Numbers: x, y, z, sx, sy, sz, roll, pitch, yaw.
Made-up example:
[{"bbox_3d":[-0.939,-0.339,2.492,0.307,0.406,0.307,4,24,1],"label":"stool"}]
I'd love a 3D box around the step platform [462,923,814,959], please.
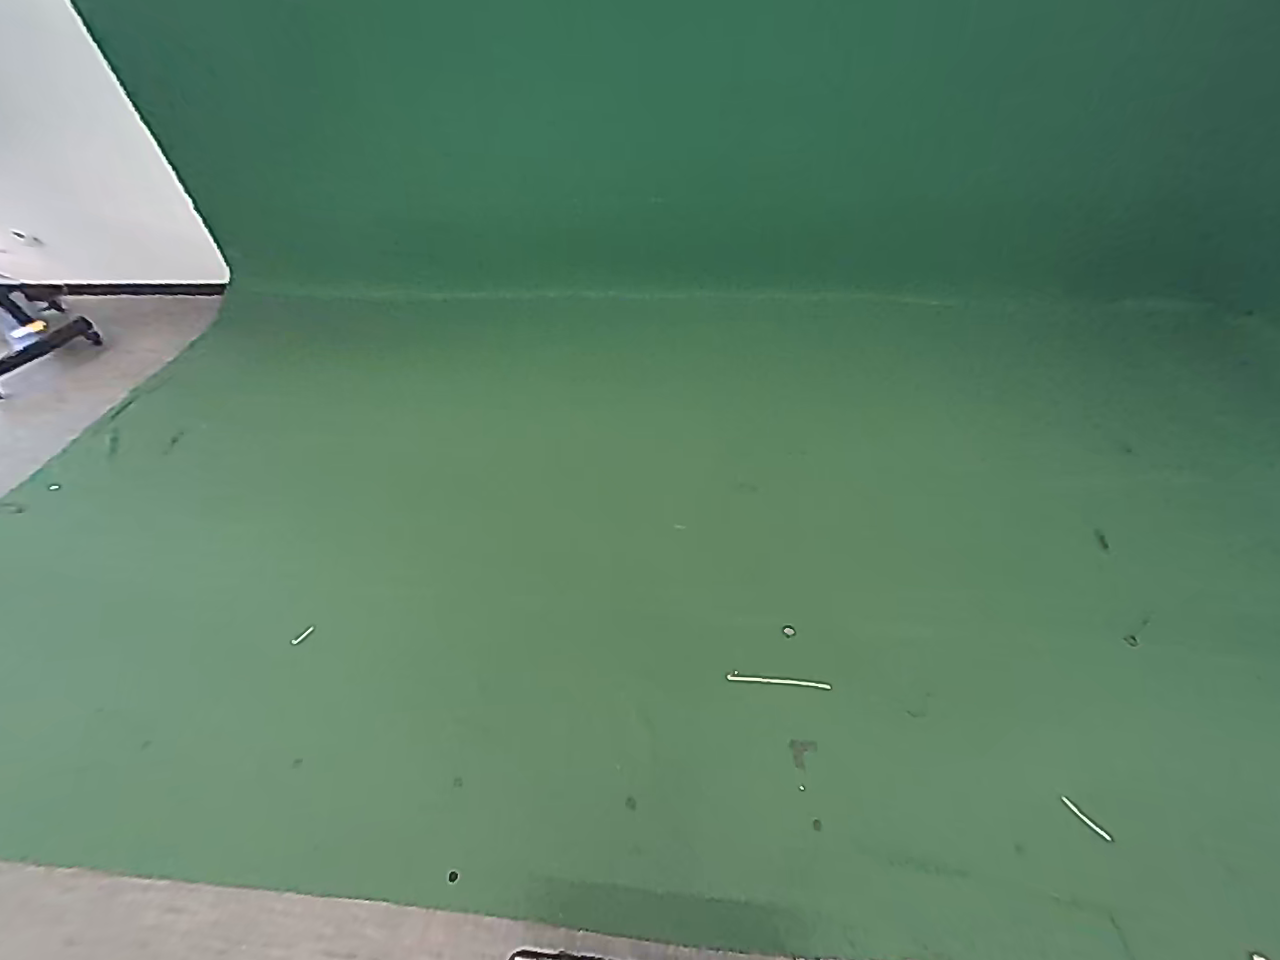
[{"bbox_3d":[0.011,0.994,0.945,0.684,0.204,0.286,2,47,6],"label":"step platform"}]
